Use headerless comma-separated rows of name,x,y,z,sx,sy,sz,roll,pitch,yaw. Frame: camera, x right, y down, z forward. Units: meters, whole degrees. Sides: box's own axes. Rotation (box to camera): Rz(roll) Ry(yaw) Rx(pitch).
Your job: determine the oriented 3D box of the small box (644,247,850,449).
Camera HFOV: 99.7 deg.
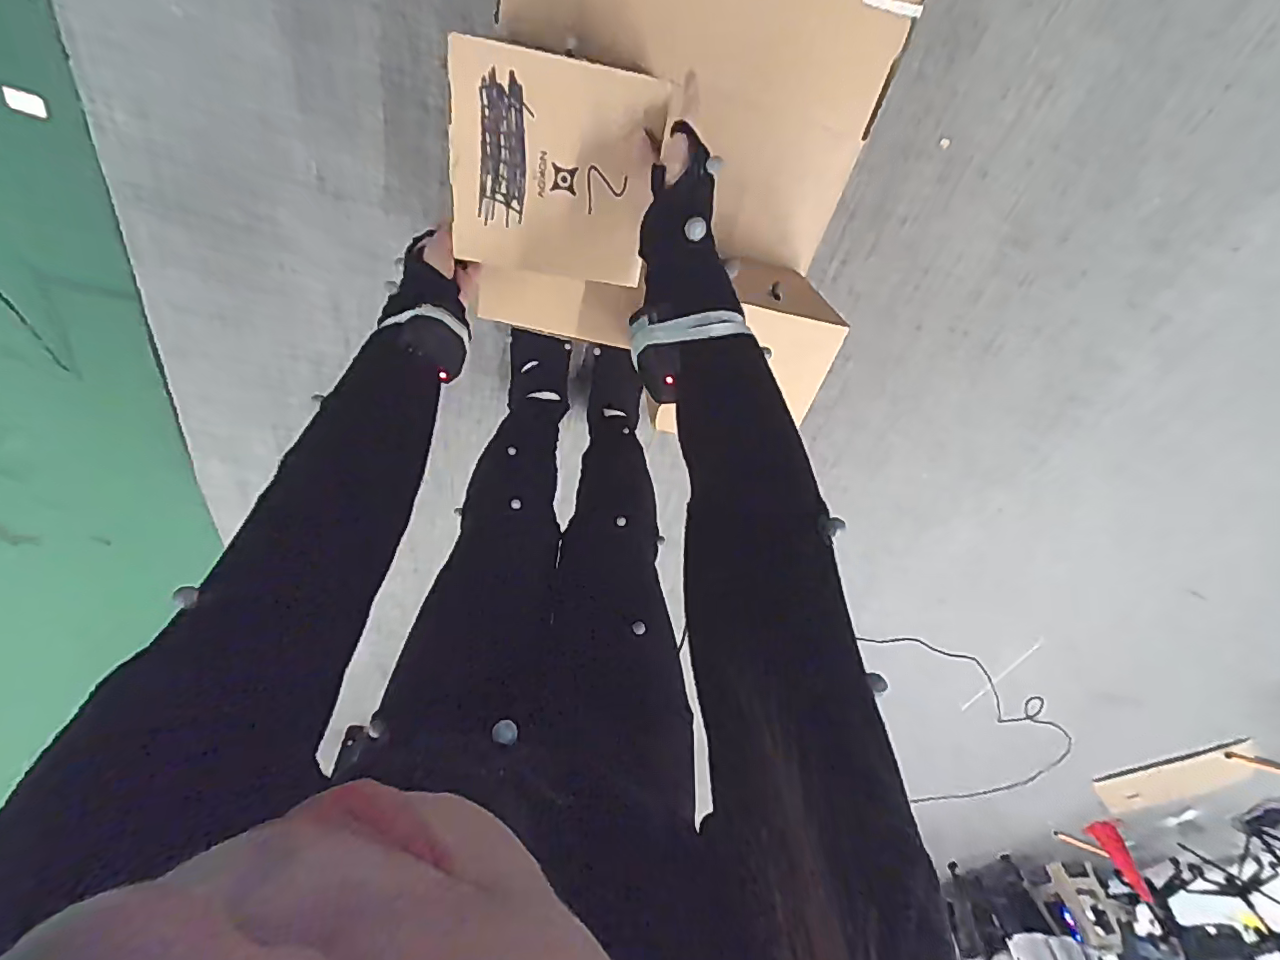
small box,0.113,-0.163,0.656,0.179,0.176,0.168,9,127,-13
